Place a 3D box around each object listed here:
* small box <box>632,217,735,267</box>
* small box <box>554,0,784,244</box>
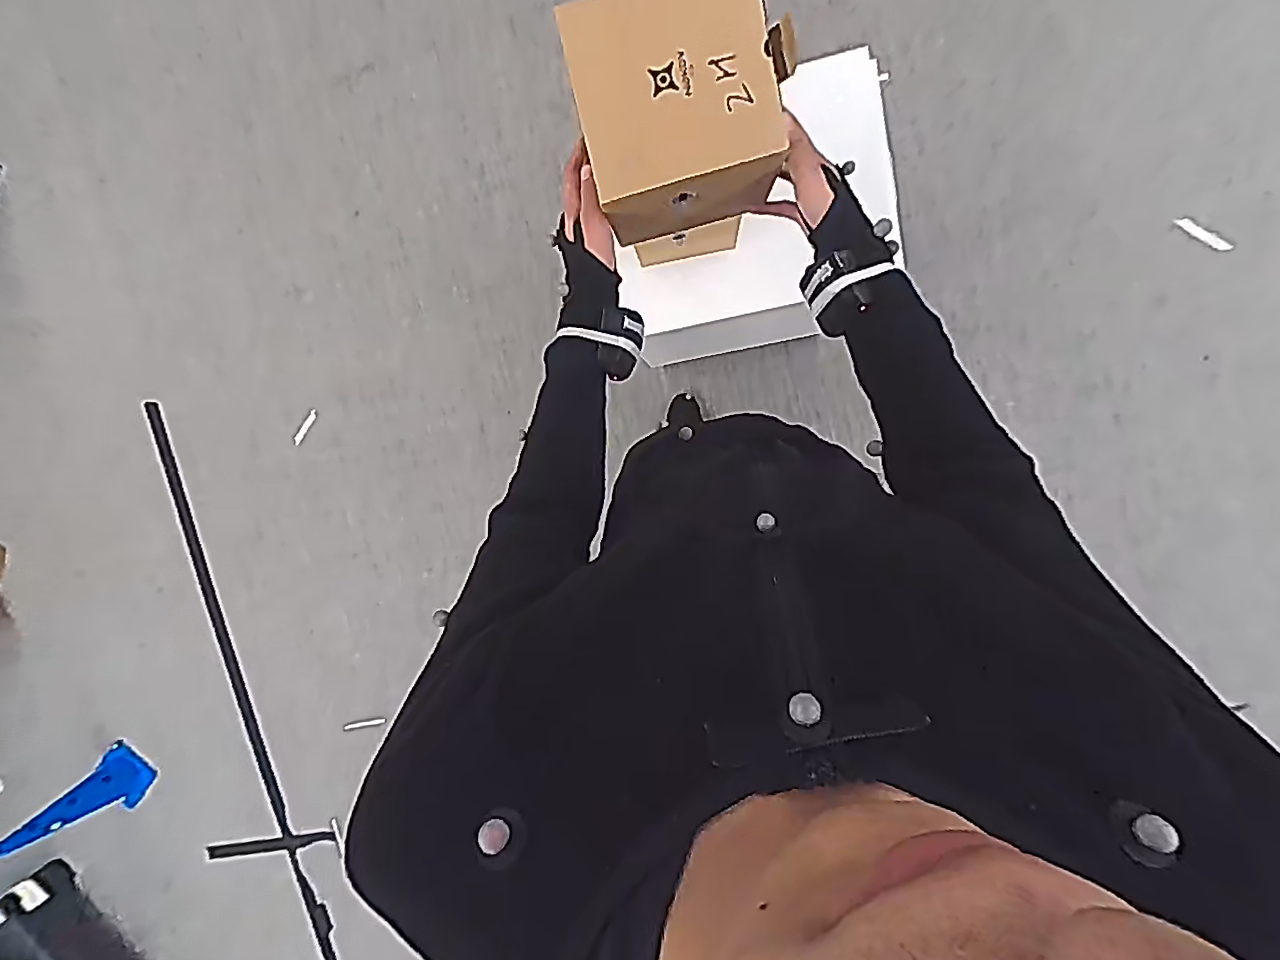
[{"bbox_3d":[0.062,-0.472,0.902,0.179,0.176,0.168,-9,95,6],"label":"small box"},{"bbox_3d":[0.033,-0.359,0.548,0.179,0.176,0.168,-13,99,6],"label":"small box"}]
